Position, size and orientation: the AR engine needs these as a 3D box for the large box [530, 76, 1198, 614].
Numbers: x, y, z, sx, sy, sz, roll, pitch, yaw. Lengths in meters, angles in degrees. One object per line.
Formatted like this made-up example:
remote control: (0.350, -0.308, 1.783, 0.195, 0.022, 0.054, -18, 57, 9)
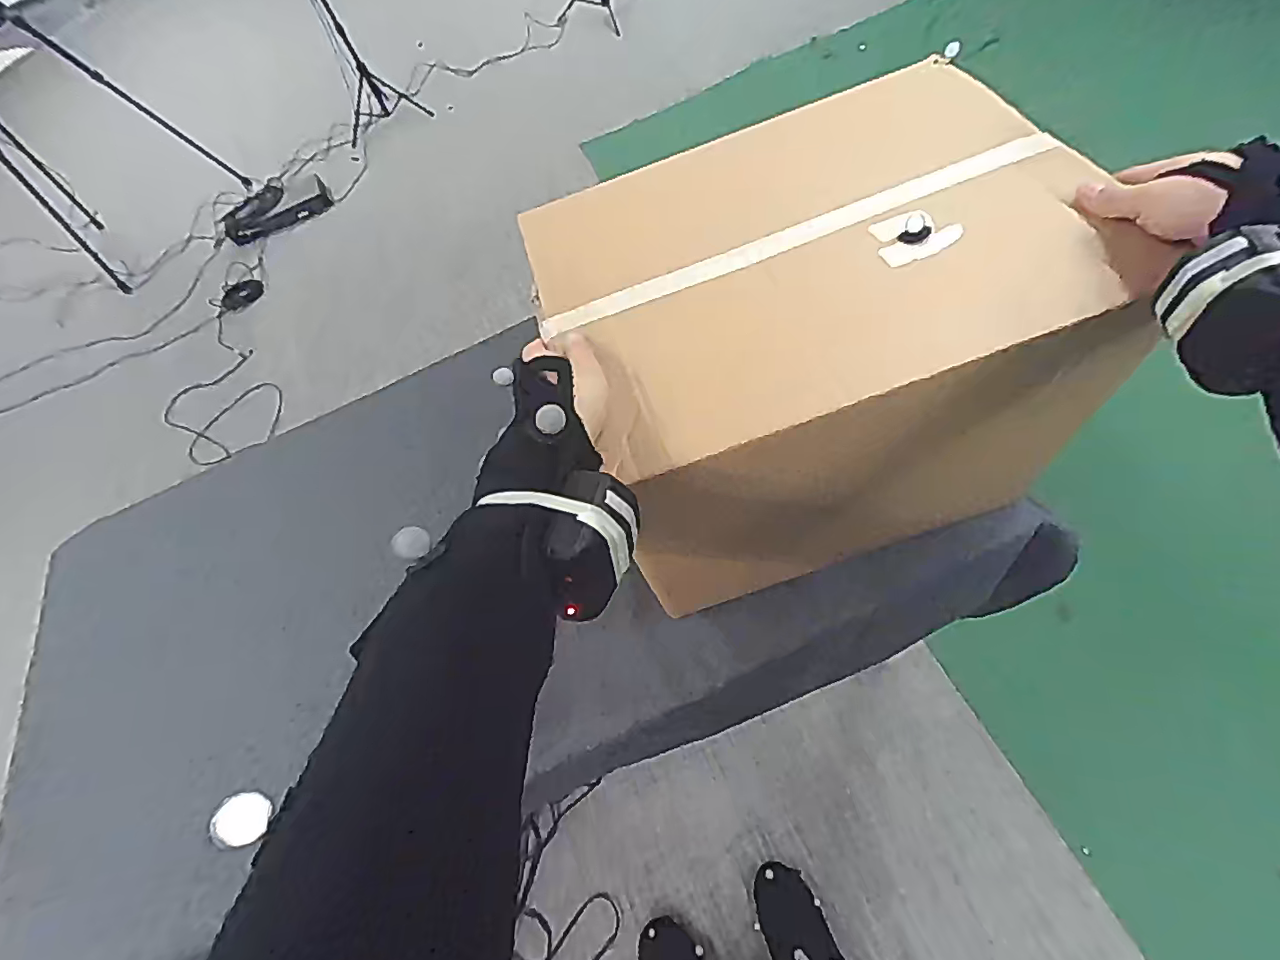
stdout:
large box: (0.152, -0.109, 0.545, 0.408, 0.320, 0.320, -20, 60, 0)
